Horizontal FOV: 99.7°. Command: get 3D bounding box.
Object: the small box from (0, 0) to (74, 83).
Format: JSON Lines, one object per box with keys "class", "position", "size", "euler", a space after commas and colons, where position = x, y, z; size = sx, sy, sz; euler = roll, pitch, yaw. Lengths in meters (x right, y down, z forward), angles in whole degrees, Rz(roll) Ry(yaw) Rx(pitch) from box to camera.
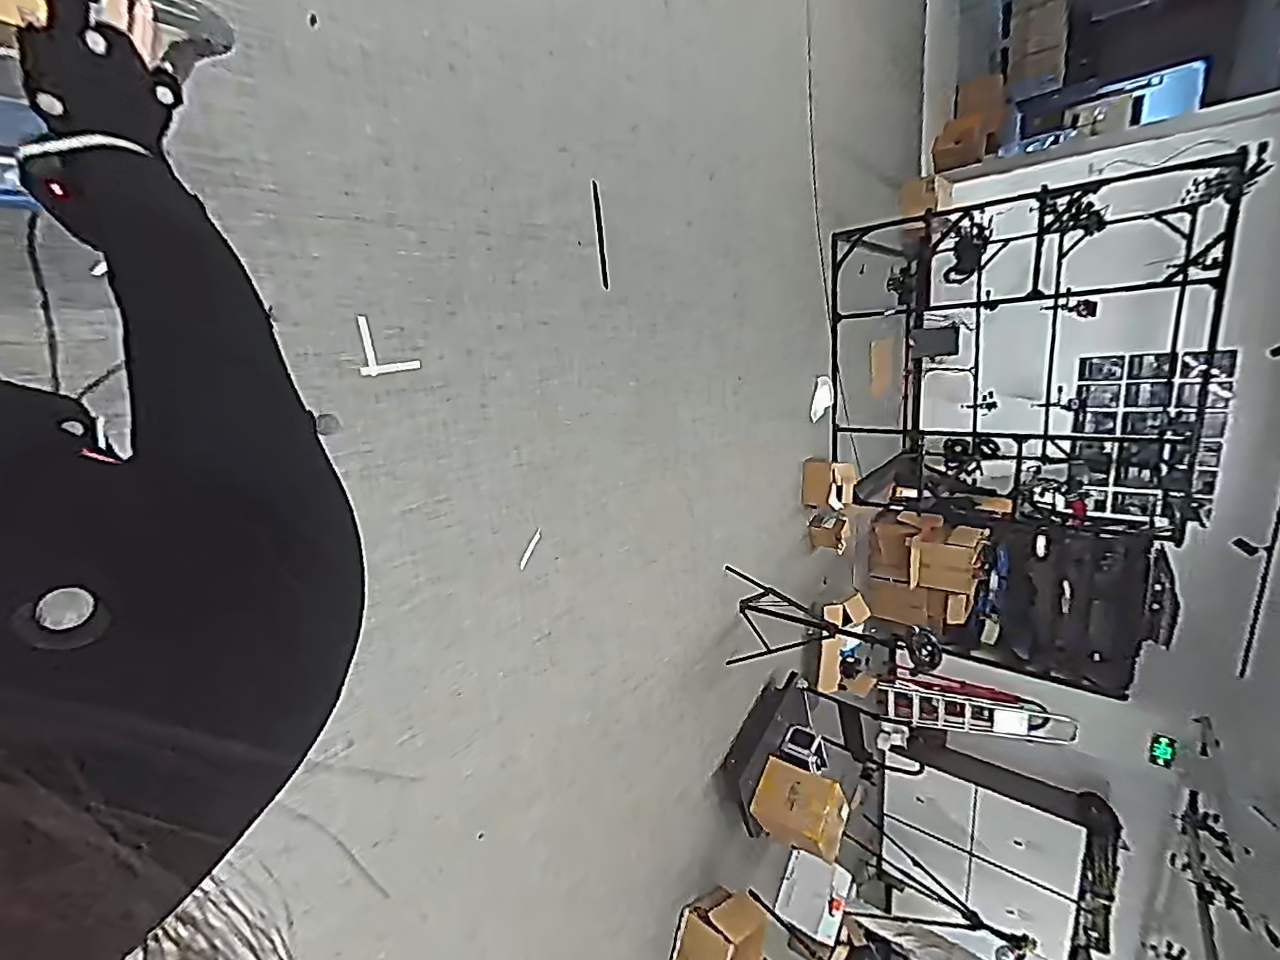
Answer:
{"class": "small box", "position": [-0.951, -0.707, 0.768], "size": [0.179, 0.176, 0.168], "euler": [-15, 107, -49]}
